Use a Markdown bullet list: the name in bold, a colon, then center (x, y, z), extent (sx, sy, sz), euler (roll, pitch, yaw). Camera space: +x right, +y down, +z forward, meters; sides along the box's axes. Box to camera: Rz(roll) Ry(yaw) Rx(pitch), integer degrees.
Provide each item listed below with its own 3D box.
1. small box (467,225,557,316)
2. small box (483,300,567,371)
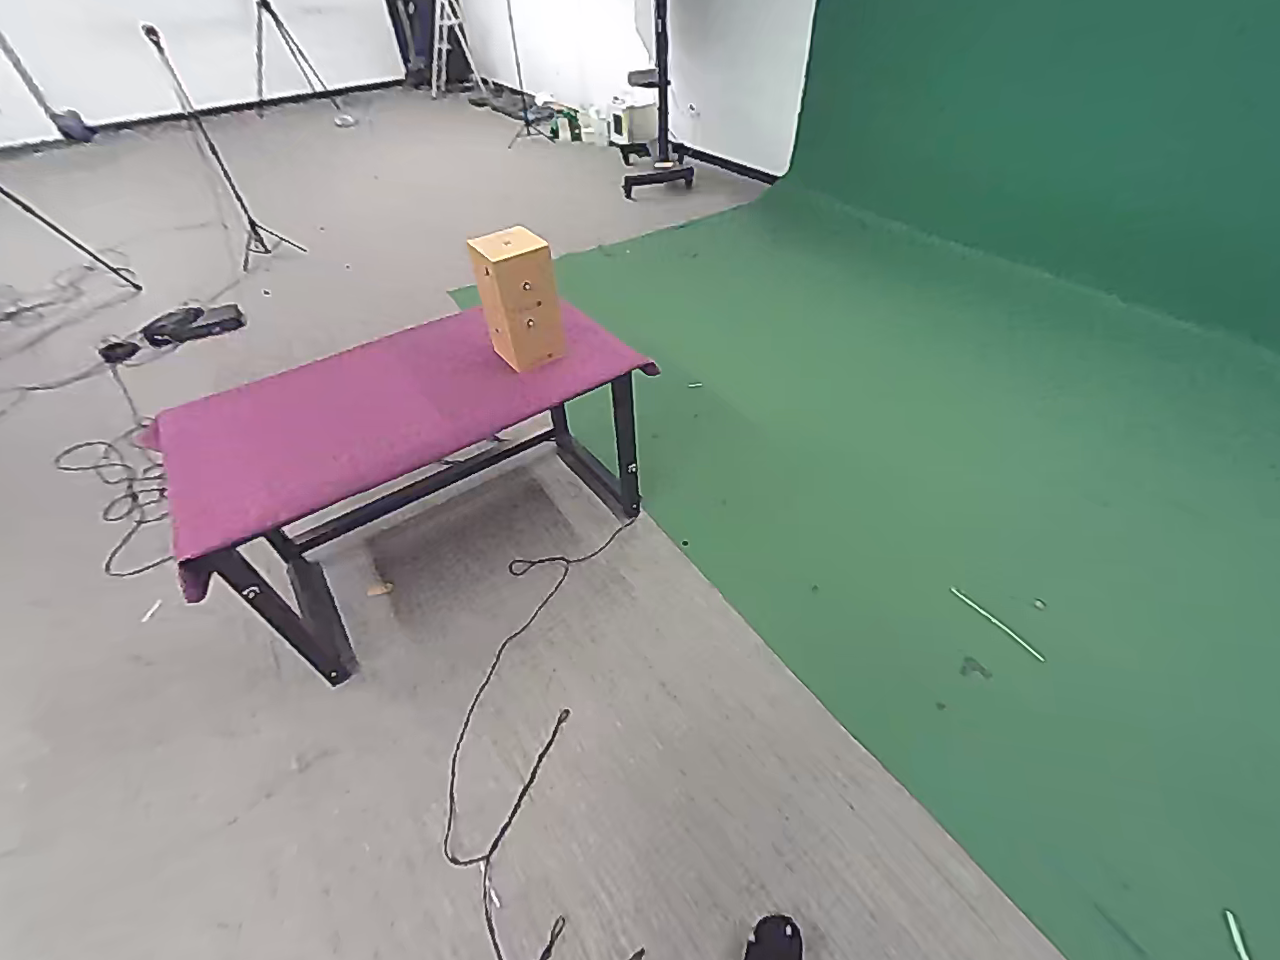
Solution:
- **small box**: center (-0.343, -0.565, 1.473), extent (0.168, 0.176, 0.179), euler (-28, 49, -22)
- **small box**: center (-0.335, -0.448, 1.590), extent (0.168, 0.176, 0.179), euler (-30, 50, -22)
